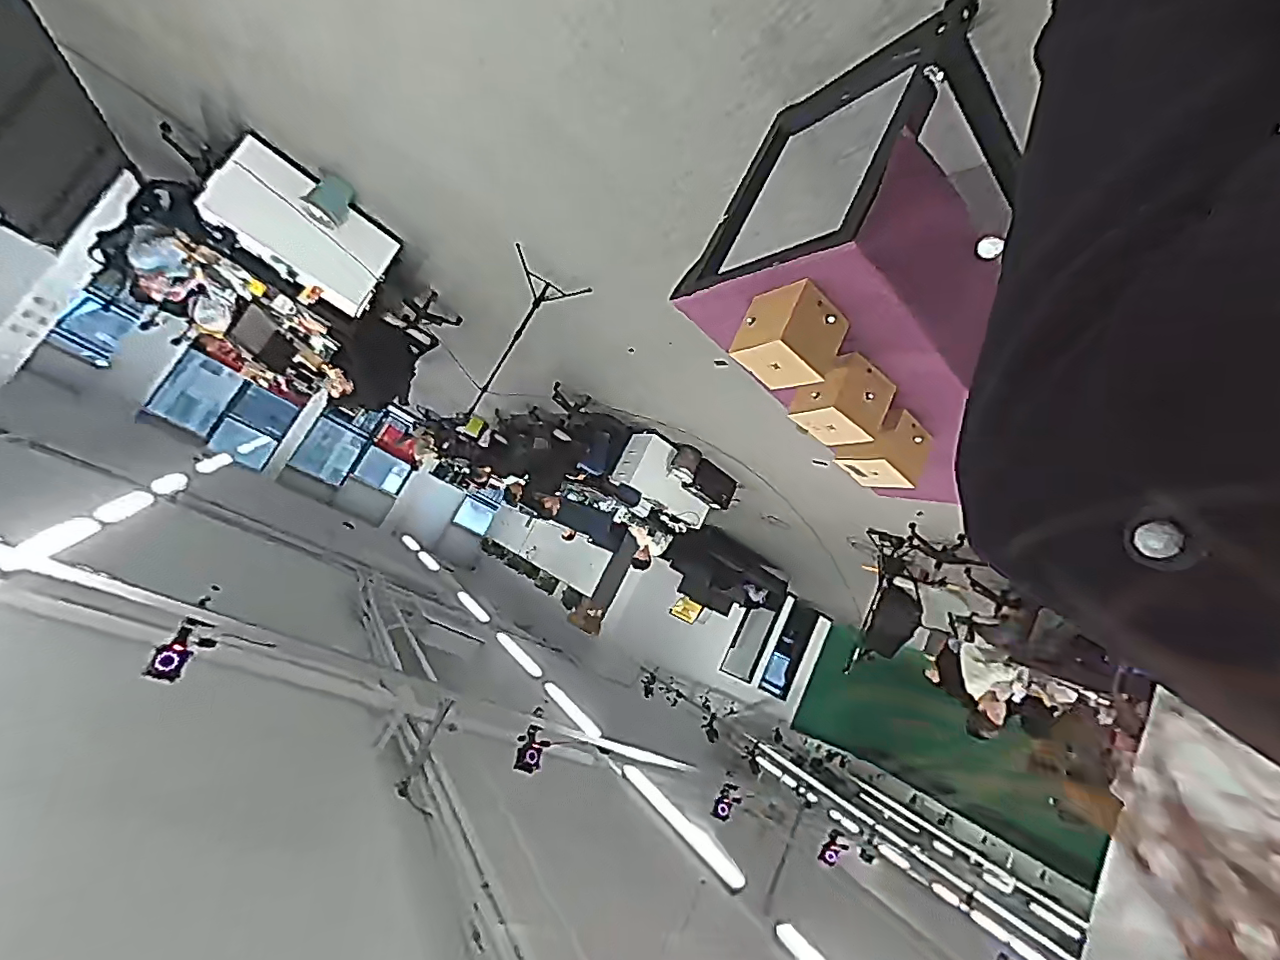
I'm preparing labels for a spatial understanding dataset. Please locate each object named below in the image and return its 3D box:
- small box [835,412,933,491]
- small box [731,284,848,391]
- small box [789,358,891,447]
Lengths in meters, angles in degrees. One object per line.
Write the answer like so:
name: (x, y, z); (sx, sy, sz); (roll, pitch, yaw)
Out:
small box: (0.714, -0.084, 1.577); (0.168, 0.176, 0.179); (33, 167, -27)
small box: (0.356, -0.333, 1.281); (0.168, 0.176, 0.179); (32, 168, -27)
small box: (0.538, -0.204, 1.438); (0.168, 0.176, 0.179); (32, 168, -21)
